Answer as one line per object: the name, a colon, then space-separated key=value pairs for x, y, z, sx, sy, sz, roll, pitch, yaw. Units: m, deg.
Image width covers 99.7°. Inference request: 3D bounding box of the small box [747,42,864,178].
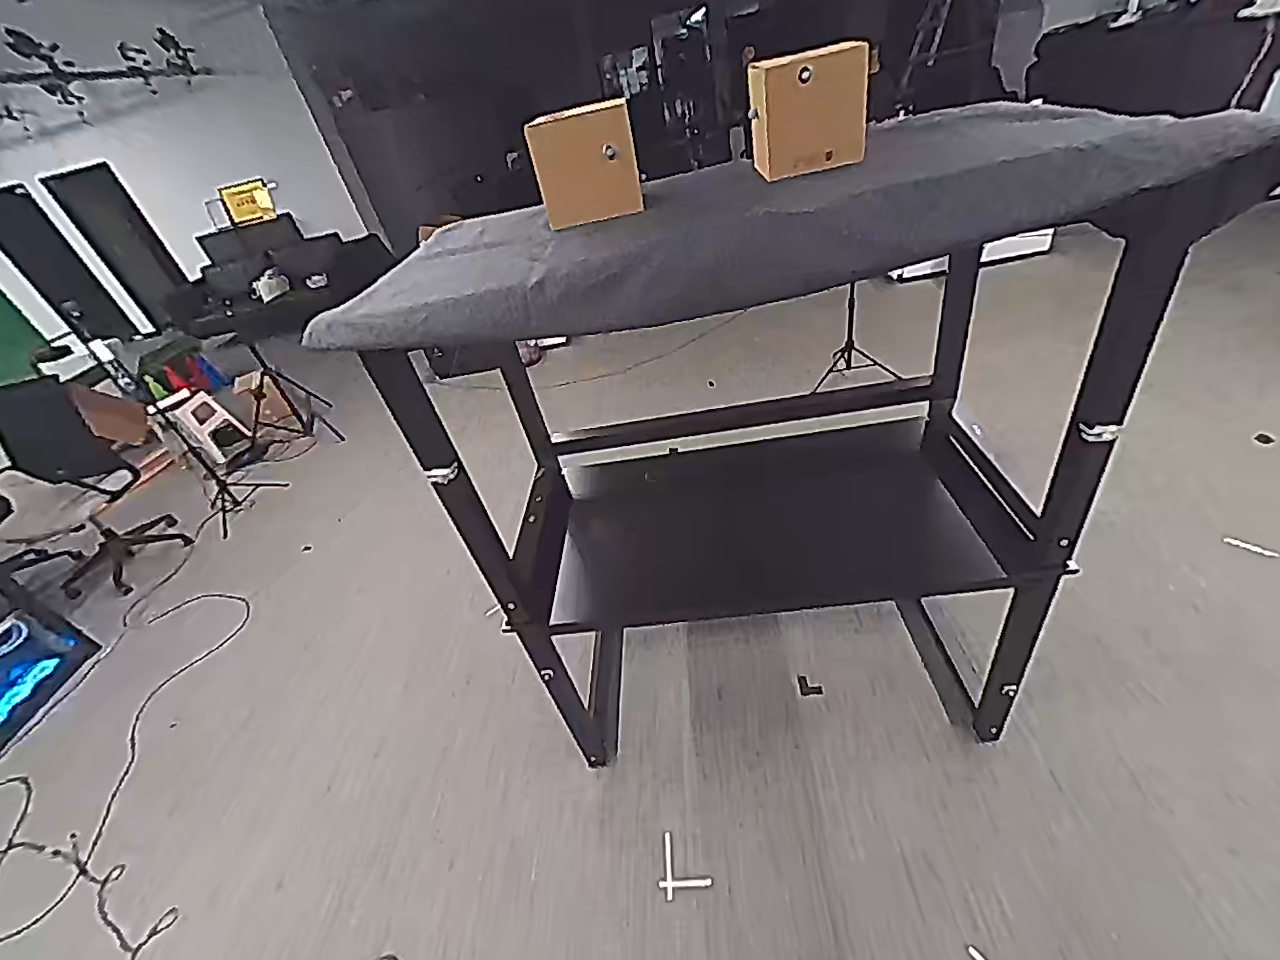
small box: x=0.289 y=-0.659 z=0.973 sx=0.168 sy=0.176 sz=0.179 roll=-9 pitch=36 yaw=8
